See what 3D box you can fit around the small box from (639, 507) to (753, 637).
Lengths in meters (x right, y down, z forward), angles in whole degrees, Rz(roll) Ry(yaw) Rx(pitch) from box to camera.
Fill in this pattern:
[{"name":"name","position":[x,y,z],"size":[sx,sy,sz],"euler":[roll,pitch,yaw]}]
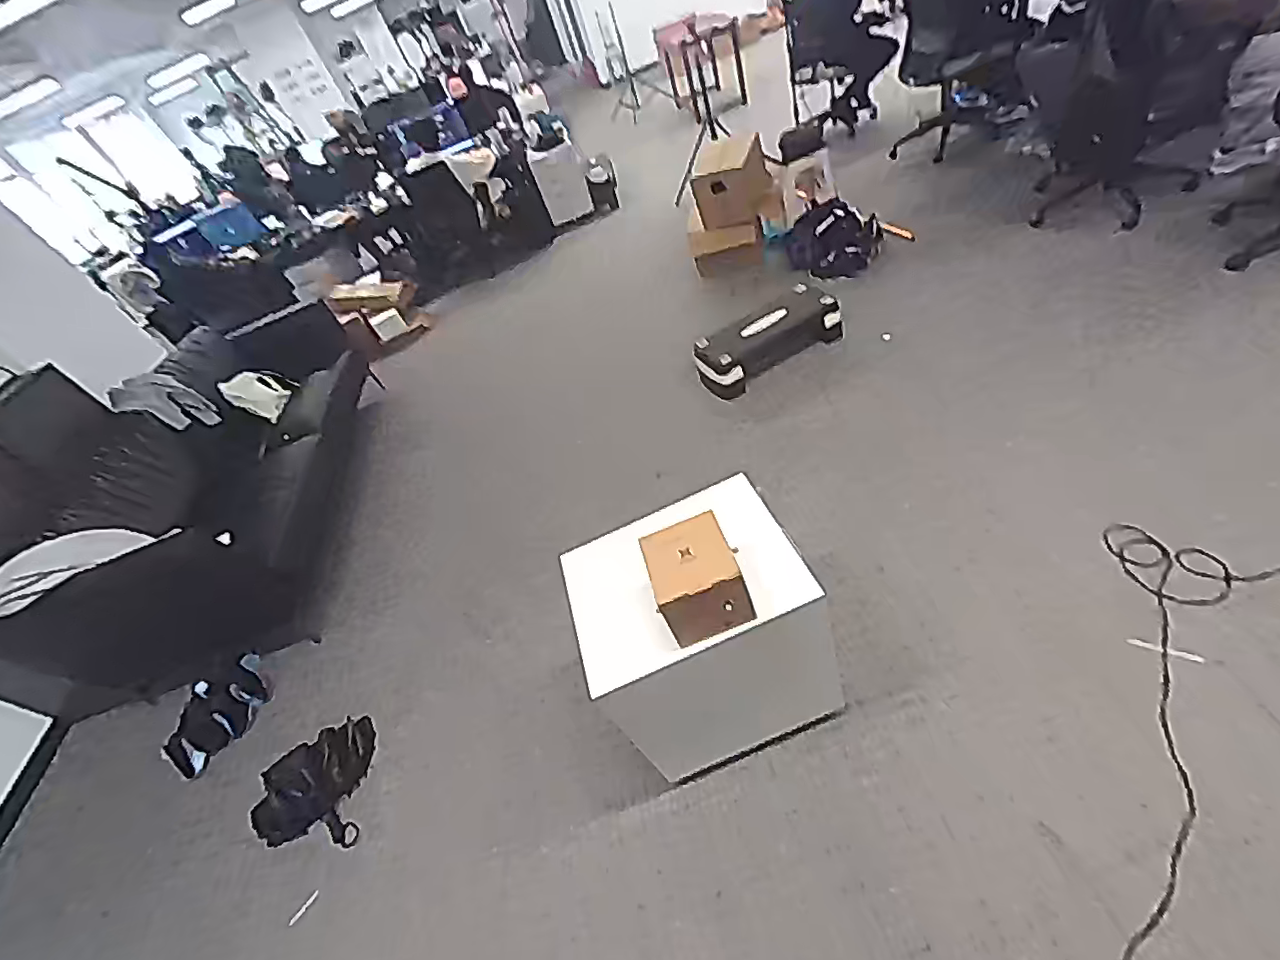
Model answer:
[{"name":"small box","position":[0.114,0.193,1.091],"size":[0.168,0.176,0.179],"euler":[-22,40,2]}]
